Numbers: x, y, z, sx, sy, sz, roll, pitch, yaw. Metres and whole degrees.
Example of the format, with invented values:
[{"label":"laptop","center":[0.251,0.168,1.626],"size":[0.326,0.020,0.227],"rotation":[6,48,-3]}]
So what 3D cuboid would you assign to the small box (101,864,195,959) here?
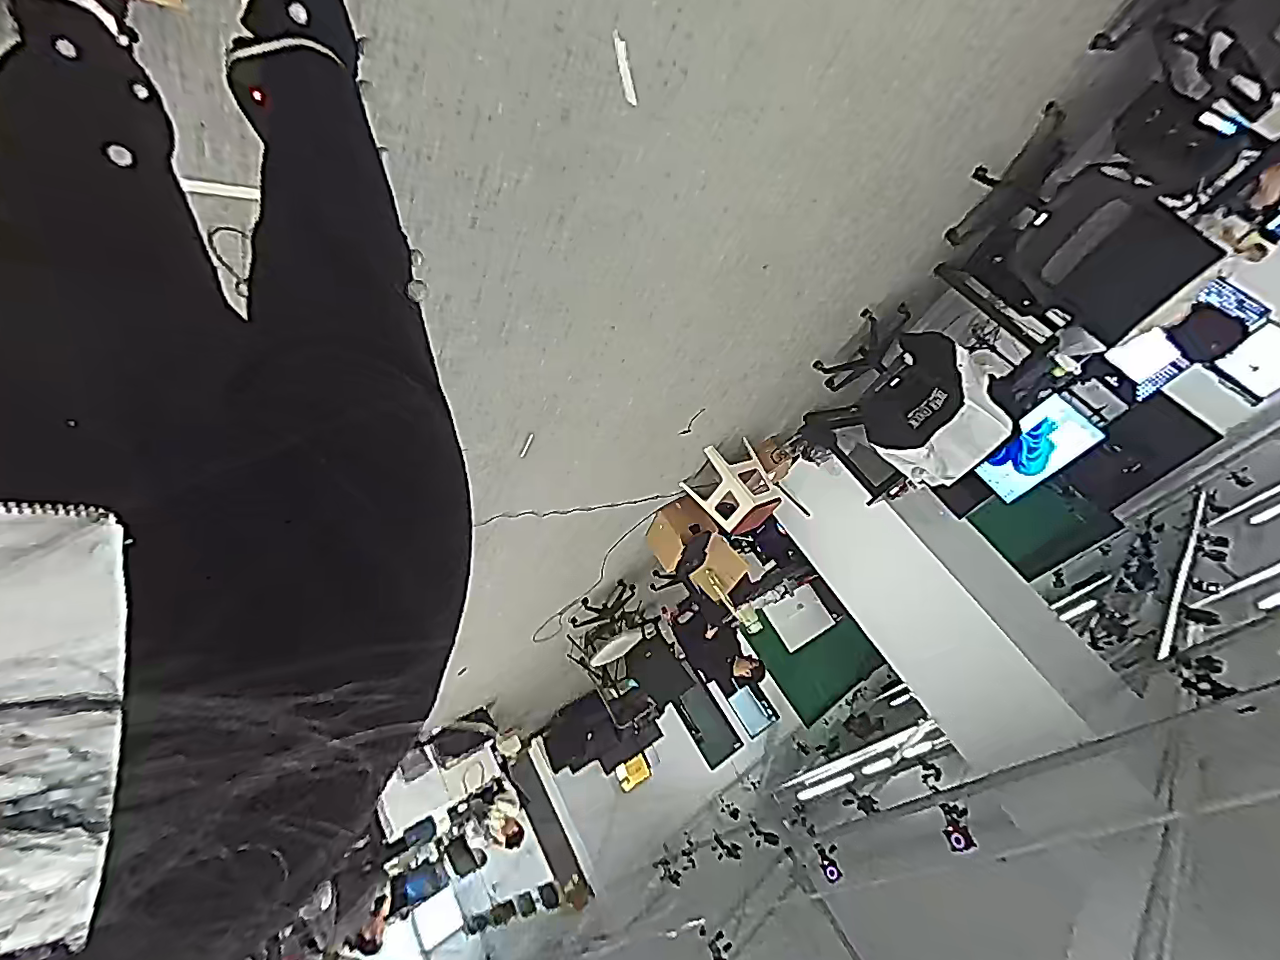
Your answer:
[{"label":"small box","center":[-1.419,1.258,1.560],"size":[0.179,0.176,0.168],"rotation":[-13,149,-40]}]

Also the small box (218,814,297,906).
[{"label":"small box","center":[-1.228,1.215,1.736],"size":[0.179,0.176,0.168],"rotation":[-12,147,-41]}]
